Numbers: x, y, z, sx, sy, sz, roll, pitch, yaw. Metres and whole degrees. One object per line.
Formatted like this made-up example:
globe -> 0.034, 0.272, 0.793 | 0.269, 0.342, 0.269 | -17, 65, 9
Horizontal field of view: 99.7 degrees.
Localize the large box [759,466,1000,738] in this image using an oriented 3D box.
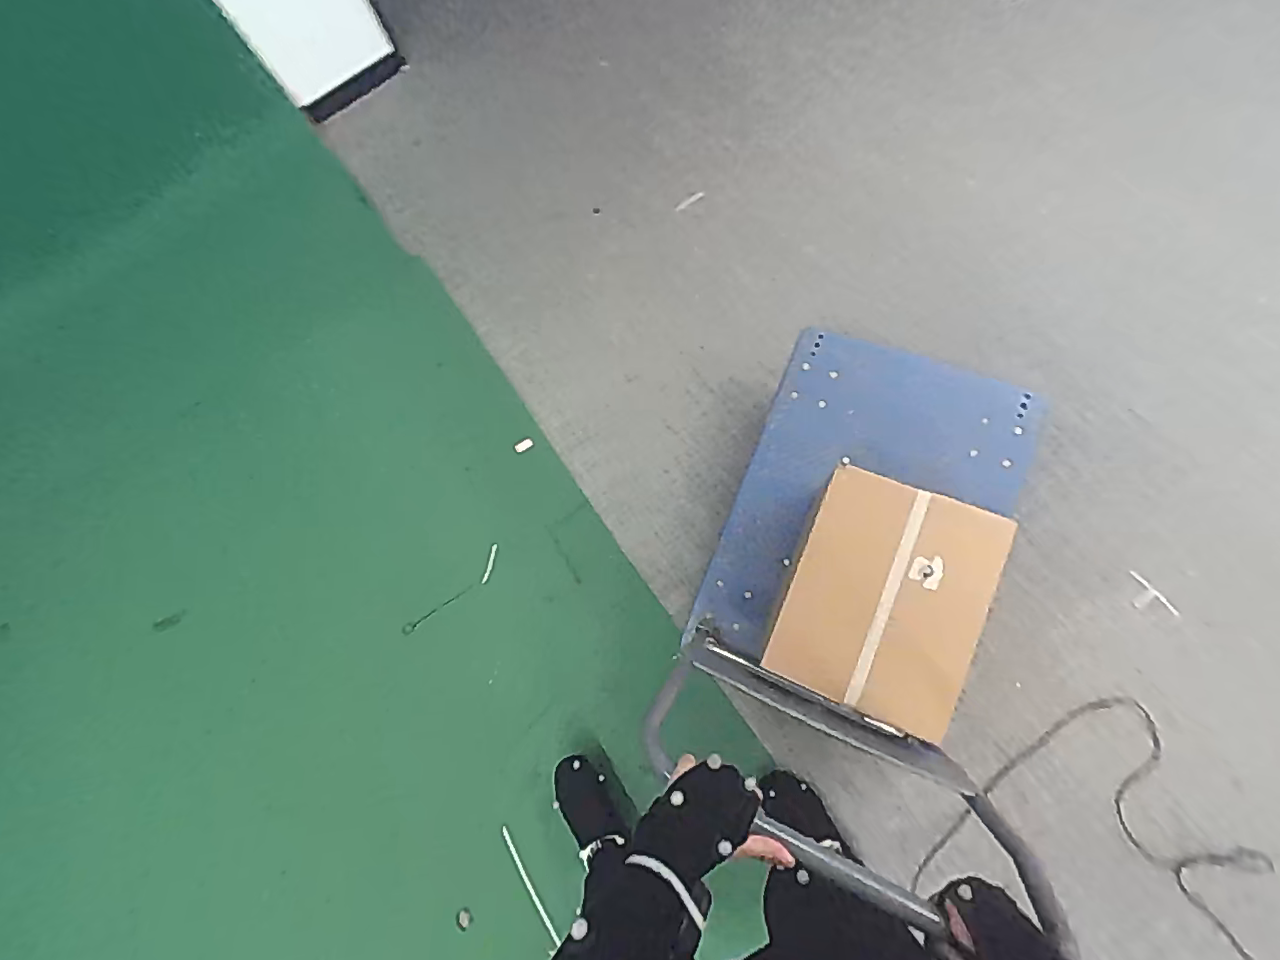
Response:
large box -> 0.456, 0.234, 1.111 | 0.320, 0.320, 0.408 | 21, 84, 14
